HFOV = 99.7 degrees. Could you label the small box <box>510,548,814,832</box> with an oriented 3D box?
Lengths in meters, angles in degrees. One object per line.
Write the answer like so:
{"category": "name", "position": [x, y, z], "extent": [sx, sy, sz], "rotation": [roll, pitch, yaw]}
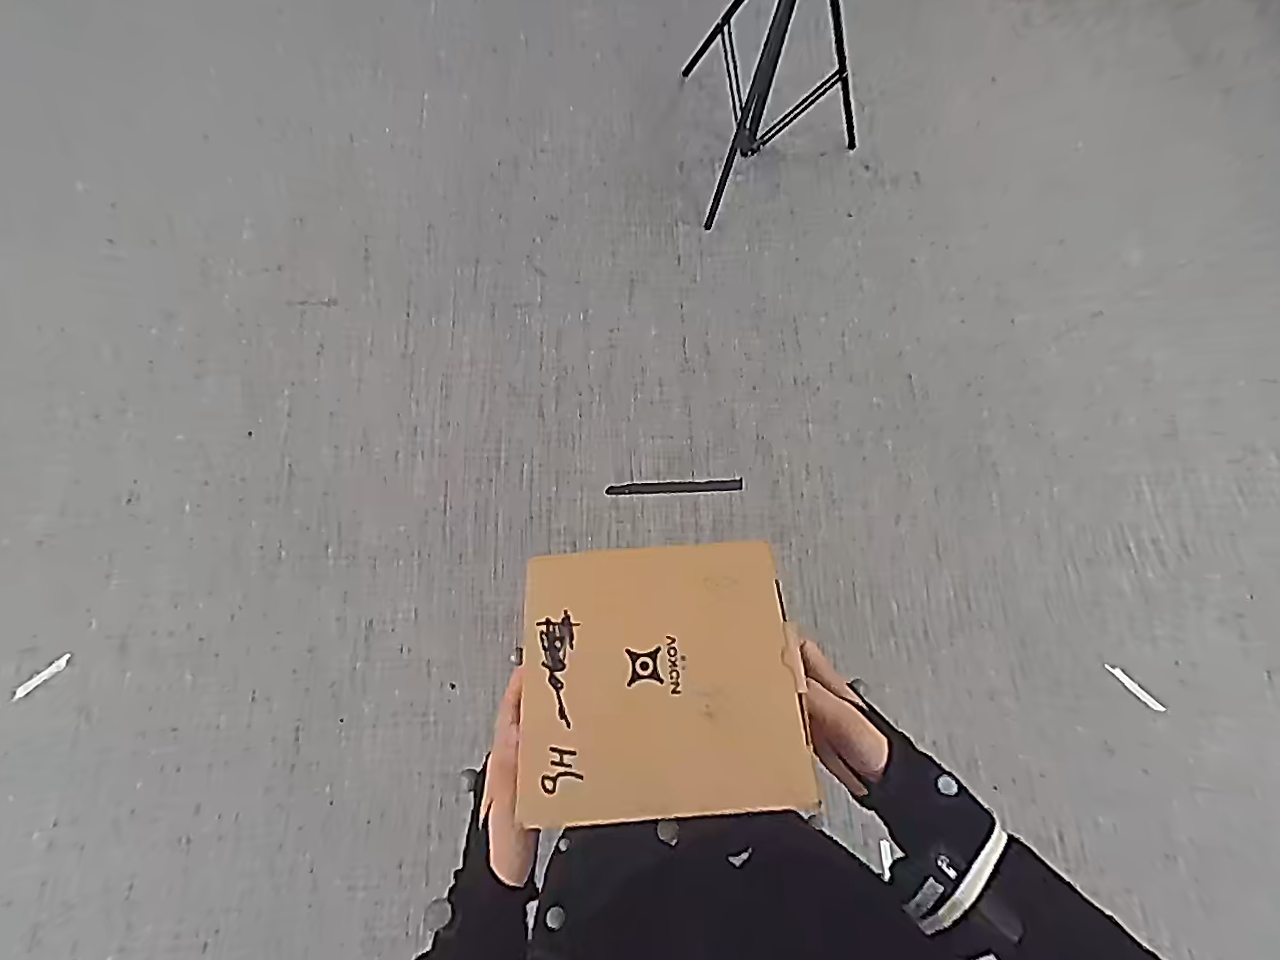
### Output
{"category": "small box", "position": [0.009, 0.163, 0.413], "extent": [0.179, 0.176, 0.168], "rotation": [-3, 58, -2]}
